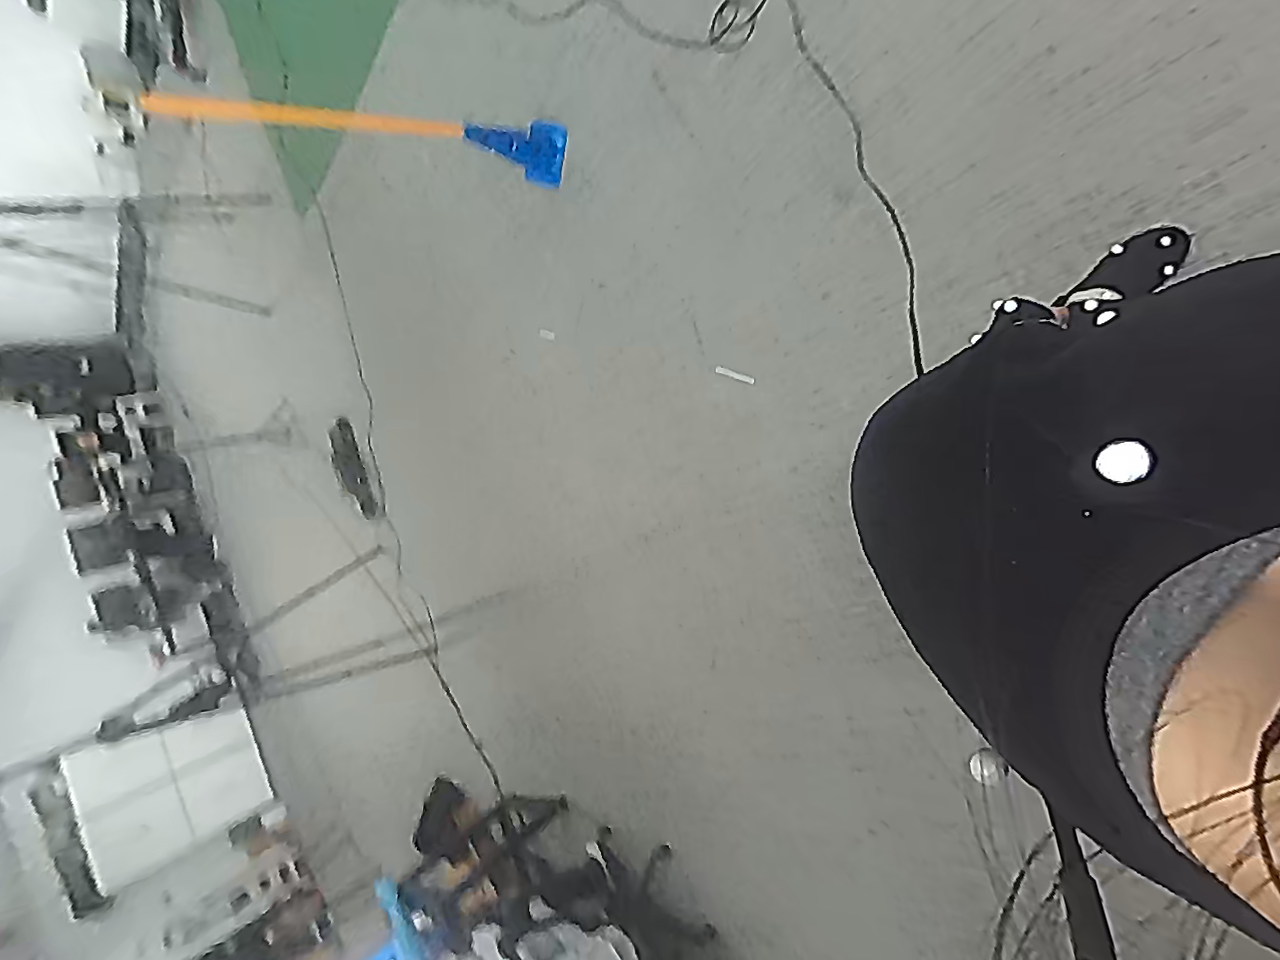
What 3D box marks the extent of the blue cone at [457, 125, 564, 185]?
[{"bbox_3d":[-0.457,-1.161,1.877,0.192,0.380,0.193,30,121,30],"label":"blue cone"}]
